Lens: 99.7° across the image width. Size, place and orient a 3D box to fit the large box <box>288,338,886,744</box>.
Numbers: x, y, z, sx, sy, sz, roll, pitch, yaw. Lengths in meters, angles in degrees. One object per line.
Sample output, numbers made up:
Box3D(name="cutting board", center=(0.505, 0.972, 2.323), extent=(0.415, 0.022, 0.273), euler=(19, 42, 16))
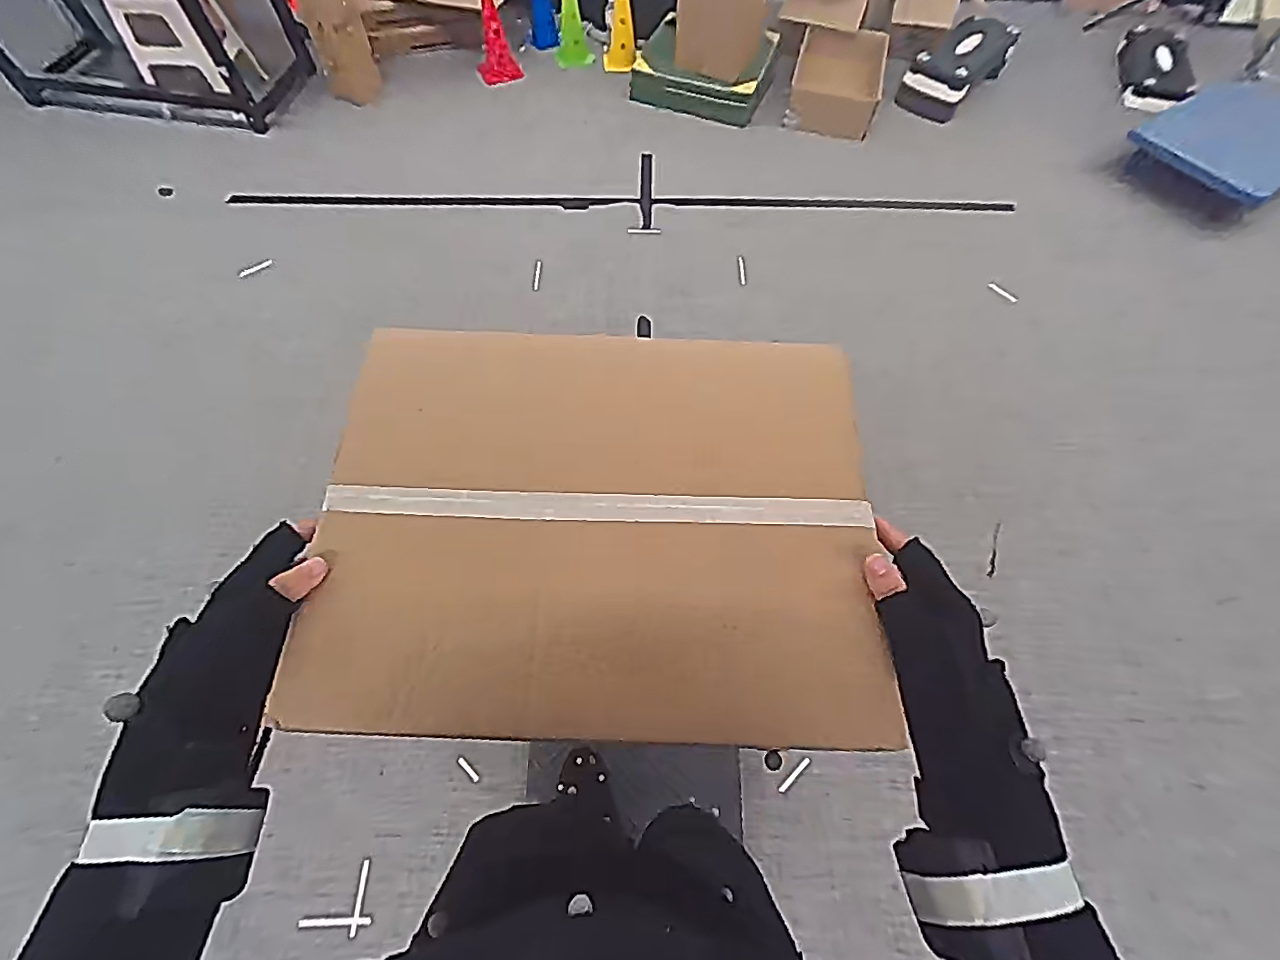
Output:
Box3D(name="large box", center=(-0.032, 0.081, 0.548), extent=(0.408, 0.320, 0.320), euler=(3, 66, -1))
